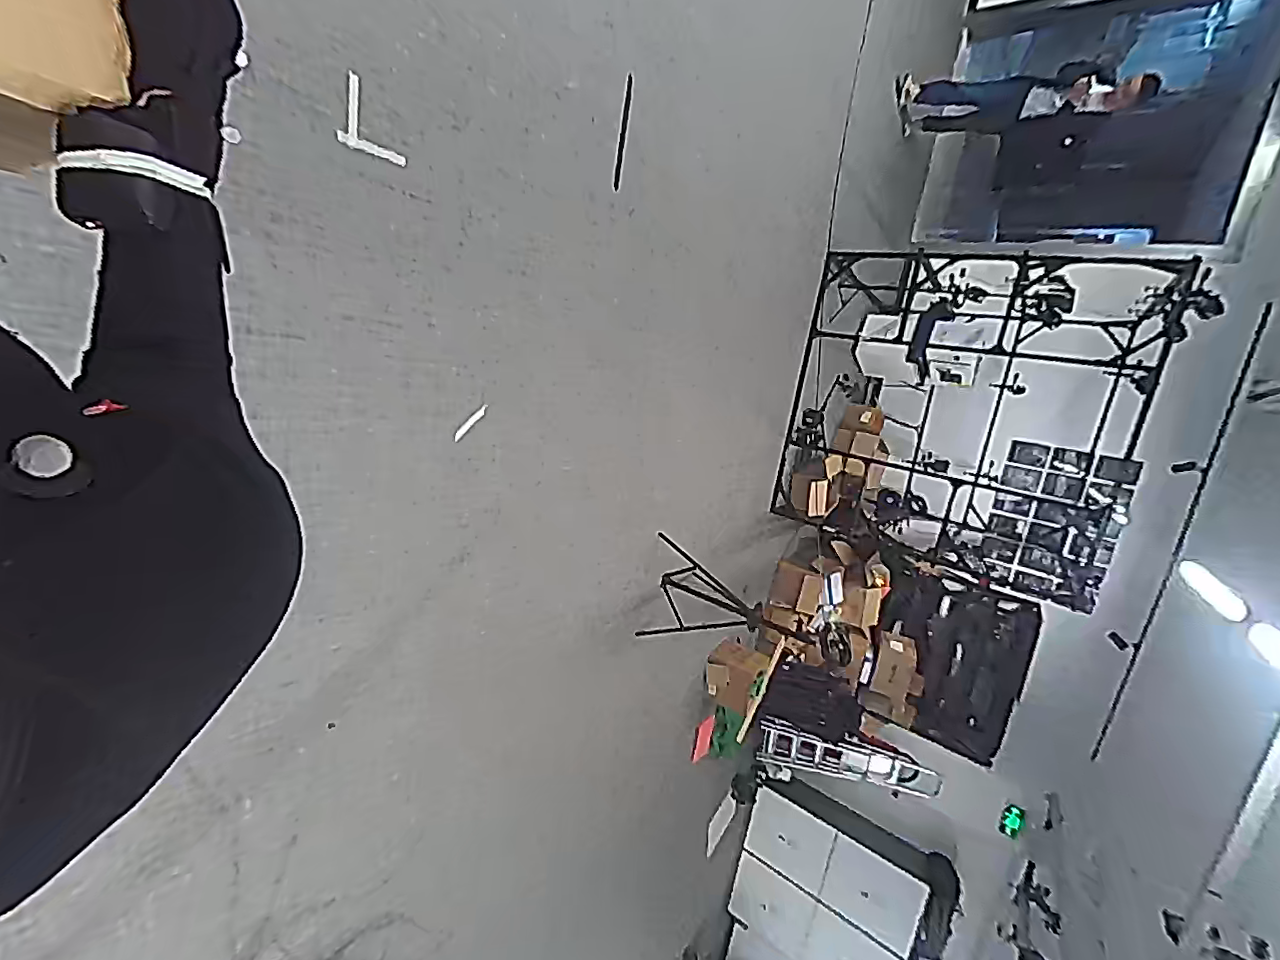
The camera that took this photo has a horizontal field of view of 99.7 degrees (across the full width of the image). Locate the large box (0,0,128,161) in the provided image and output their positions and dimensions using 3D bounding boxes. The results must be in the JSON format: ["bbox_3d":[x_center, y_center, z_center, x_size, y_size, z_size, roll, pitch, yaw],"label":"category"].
[{"bbox_3d":[-0.573,-0.415,0.267,0.408,0.320,0.320,-5,108,-59],"label":"large box"}]
